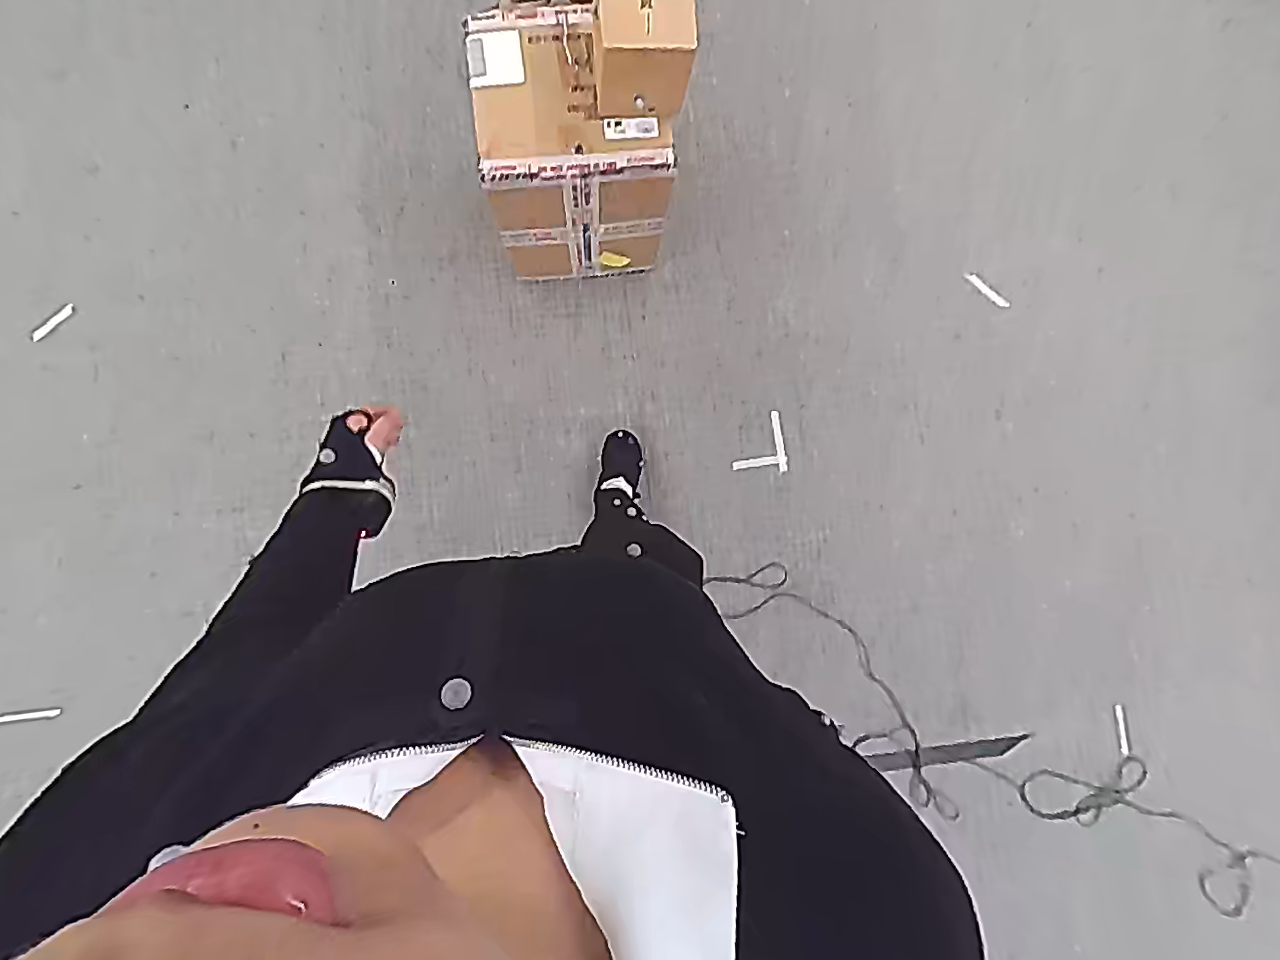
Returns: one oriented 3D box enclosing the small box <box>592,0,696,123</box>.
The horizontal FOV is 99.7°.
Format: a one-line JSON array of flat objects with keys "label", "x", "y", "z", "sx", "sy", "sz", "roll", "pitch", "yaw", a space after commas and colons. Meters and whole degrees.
[{"label": "small box", "x": 0.001, "y": -0.801, "z": 0.994, "sx": 0.168, "sy": 0.176, "sz": 0.179, "roll": -4, "pitch": 89, "yaw": -7}]
